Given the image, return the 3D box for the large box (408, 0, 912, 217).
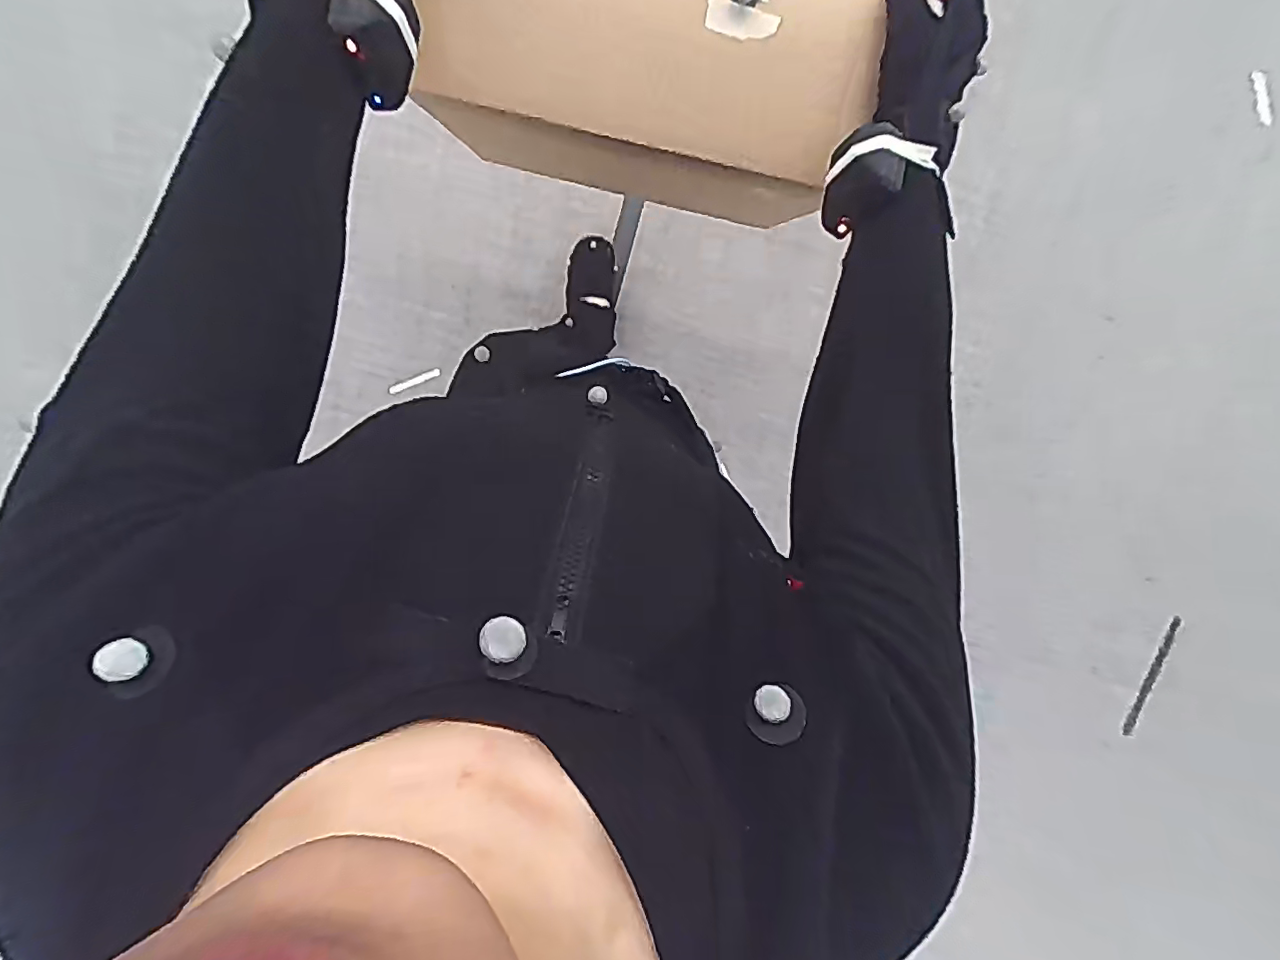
[{"bbox_3d":[0.024,-0.491,0.553,0.408,0.320,0.320,11,111,-6],"label":"large box"}]
